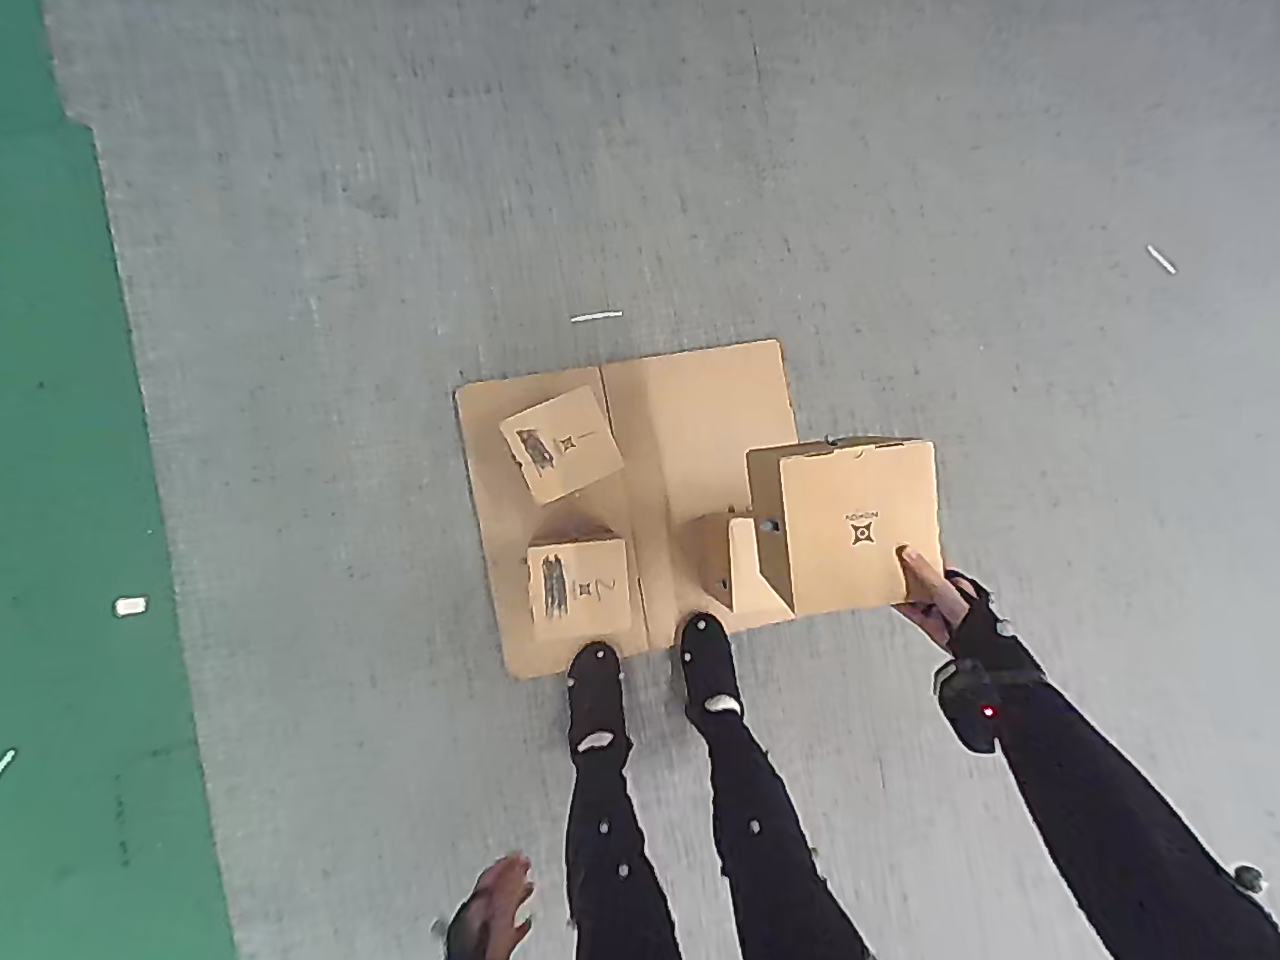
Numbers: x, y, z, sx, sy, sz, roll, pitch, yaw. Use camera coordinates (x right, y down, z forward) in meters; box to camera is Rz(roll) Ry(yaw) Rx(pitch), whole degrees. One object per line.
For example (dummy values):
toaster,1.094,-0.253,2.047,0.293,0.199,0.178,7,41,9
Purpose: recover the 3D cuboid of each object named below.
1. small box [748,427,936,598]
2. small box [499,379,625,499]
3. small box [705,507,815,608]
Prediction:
small box,0.235,0.029,0.665,0.168,0.176,0.179,-7,94,1
small box,-0.147,-0.069,1.026,0.179,0.176,0.168,-24,92,-10
small box,0.232,0.144,1.075,0.168,0.176,0.179,-3,89,-9
